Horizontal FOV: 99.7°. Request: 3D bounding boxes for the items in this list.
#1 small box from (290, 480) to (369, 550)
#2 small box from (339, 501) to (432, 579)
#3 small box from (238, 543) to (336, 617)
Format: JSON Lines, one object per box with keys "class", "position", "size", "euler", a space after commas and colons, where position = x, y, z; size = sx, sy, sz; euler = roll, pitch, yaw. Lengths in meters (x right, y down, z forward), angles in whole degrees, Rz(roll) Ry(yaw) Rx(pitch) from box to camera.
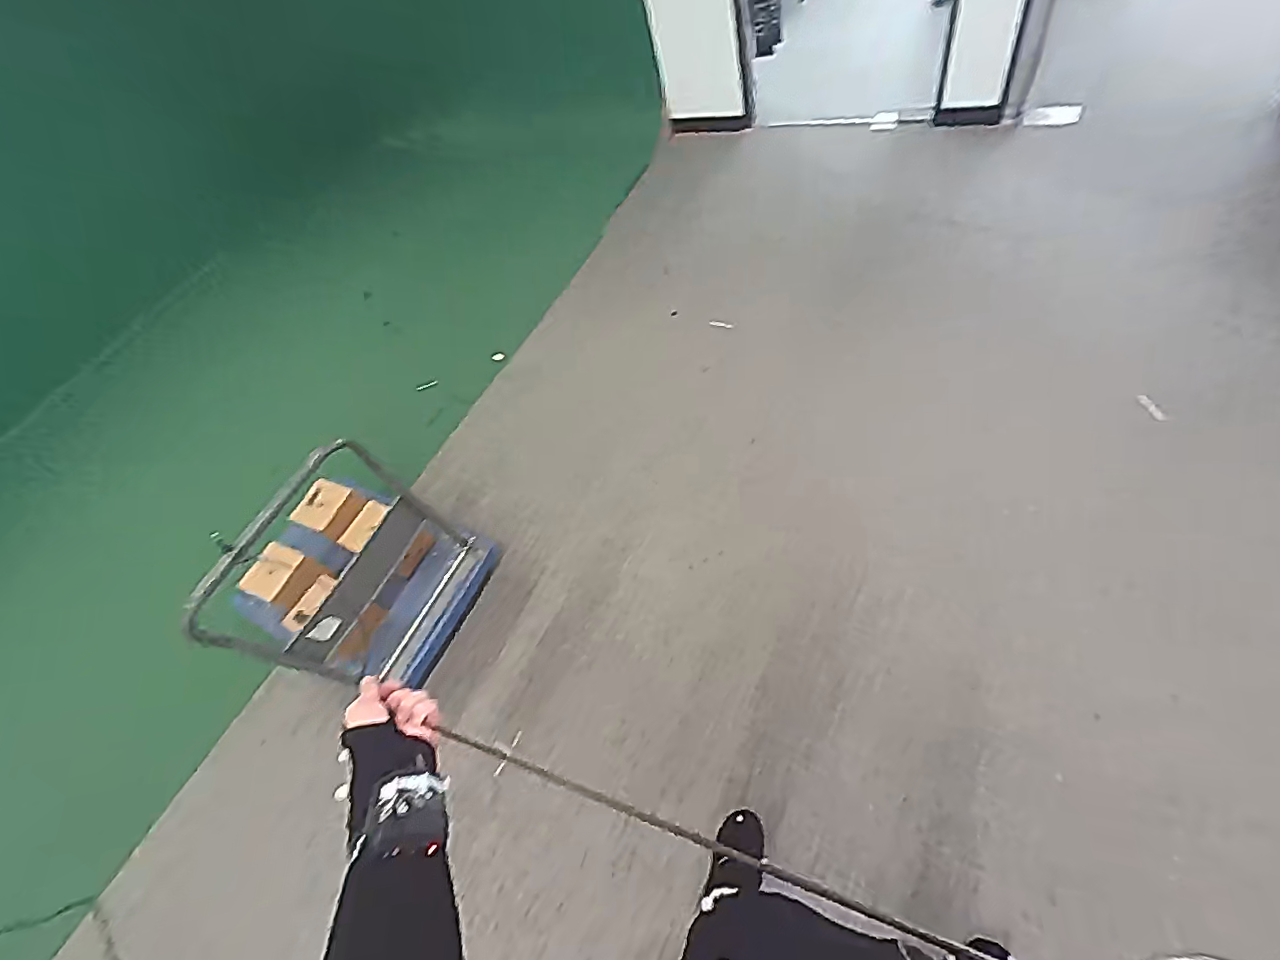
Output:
{"class": "small box", "position": [-1.053, 0.125, 1.879], "size": [0.179, 0.176, 0.168], "euler": [15, 65, 24]}
{"class": "small box", "position": [-0.823, 0.199, 1.760], "size": [0.179, 0.176, 0.168], "euler": [19, 66, 26]}
{"class": "small box", "position": [-1.151, 0.333, 1.778], "size": [0.179, 0.176, 0.168], "euler": [14, 63, 25]}
